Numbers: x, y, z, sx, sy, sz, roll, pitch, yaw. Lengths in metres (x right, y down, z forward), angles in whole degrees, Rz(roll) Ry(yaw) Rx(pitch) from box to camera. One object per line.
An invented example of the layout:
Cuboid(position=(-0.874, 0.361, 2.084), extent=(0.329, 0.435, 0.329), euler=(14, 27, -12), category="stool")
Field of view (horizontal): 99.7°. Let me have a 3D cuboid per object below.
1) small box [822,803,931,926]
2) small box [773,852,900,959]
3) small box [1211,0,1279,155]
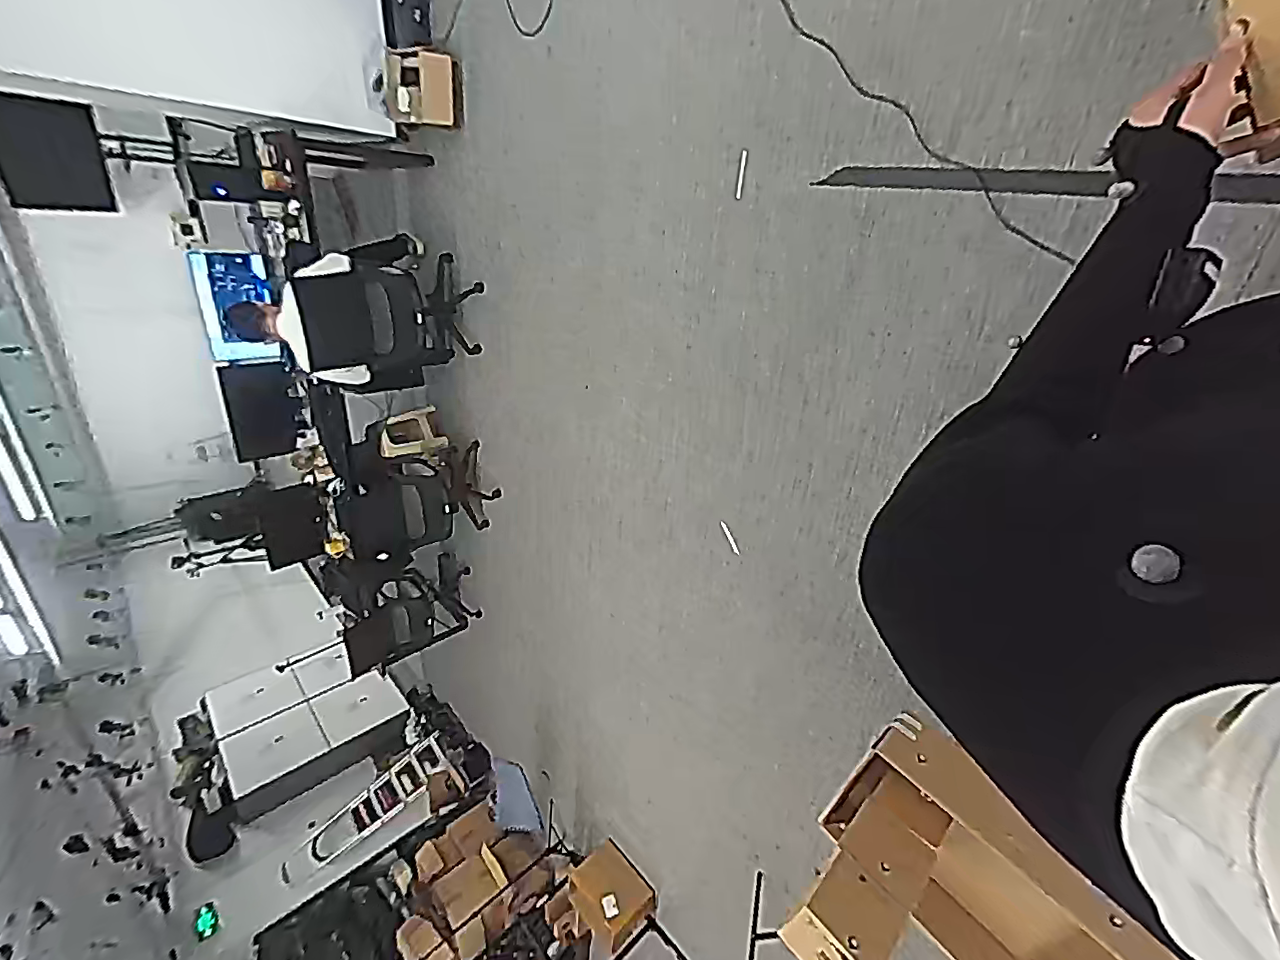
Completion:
Cuboid(position=(0.544, 0.910, 1.263), extent=(0.179, 0.176, 0.168), euler=(34, 128, 35), category="small box")
Cuboid(position=(0.423, 0.956, 1.161), extent=(0.168, 0.176, 0.179), euler=(39, 132, 31), category="small box")
Cuboid(position=(0.585, -0.393, 0.423), extent=(0.179, 0.176, 0.168), euler=(-15, 90, 51), category="small box")
